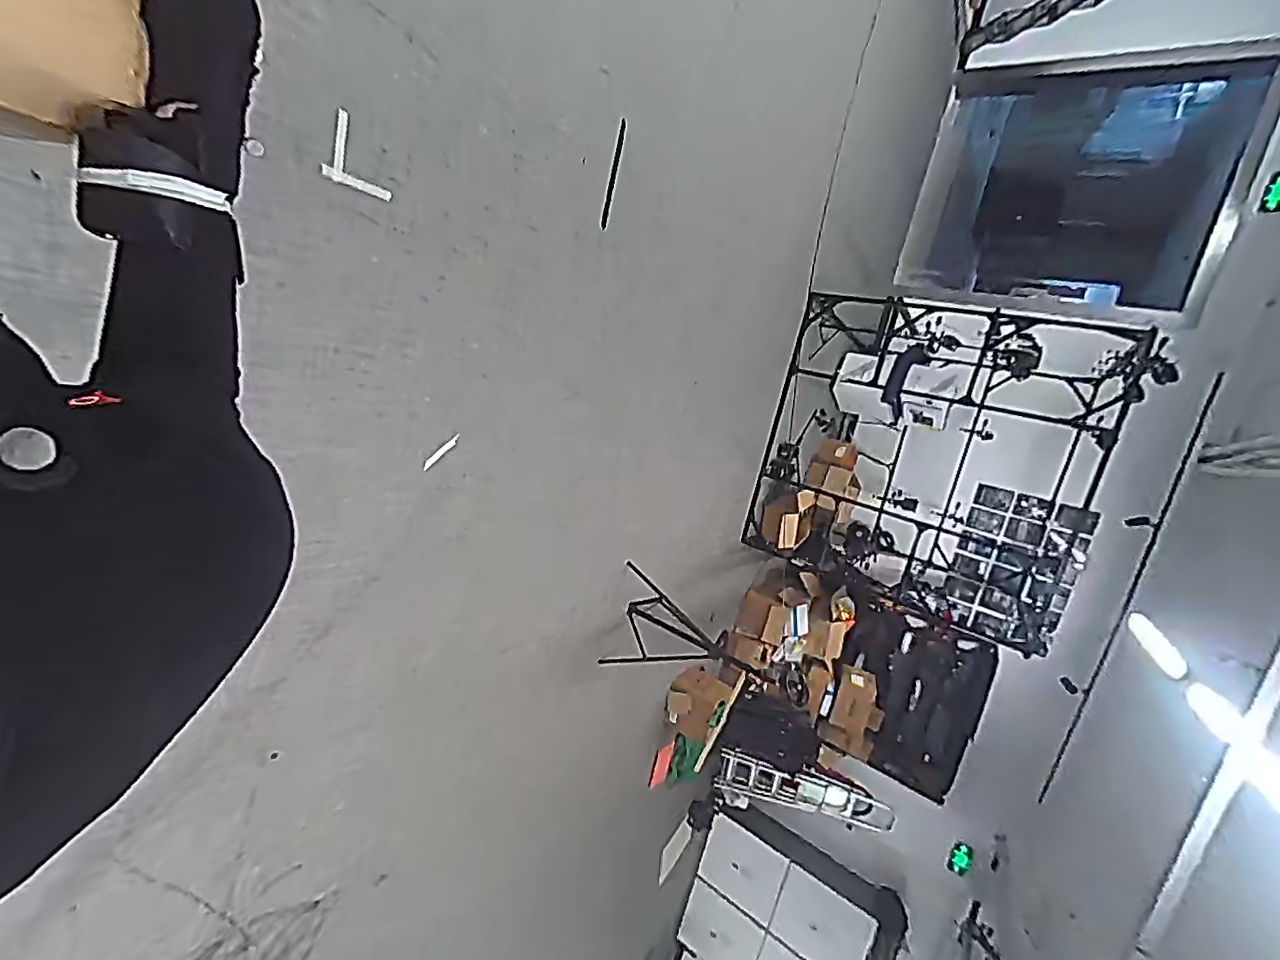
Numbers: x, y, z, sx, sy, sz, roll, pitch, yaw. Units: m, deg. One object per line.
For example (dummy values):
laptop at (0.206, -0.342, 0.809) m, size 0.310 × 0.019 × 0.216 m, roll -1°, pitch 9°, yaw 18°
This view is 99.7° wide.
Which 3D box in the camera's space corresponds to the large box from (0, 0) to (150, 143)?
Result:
large box at (-0.541, -0.413, 0.250) m, size 0.408 × 0.320 × 0.320 m, roll -8°, pitch 117°, yaw -59°
